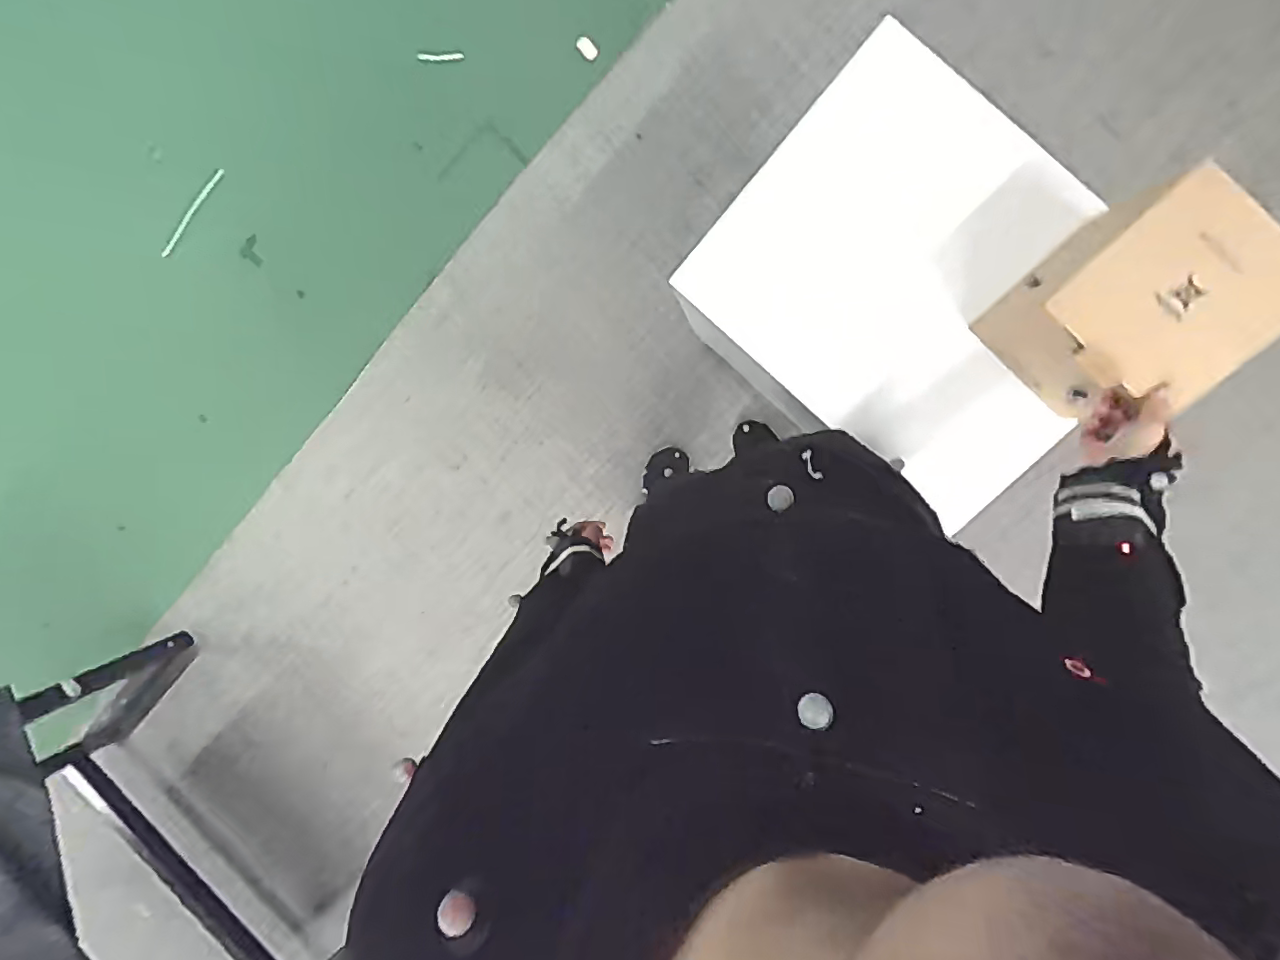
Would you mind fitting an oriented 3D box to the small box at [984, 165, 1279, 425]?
[{"bbox_3d":[0.508,-0.176,0.575,0.168,0.176,0.179,45,102,1],"label":"small box"}]
